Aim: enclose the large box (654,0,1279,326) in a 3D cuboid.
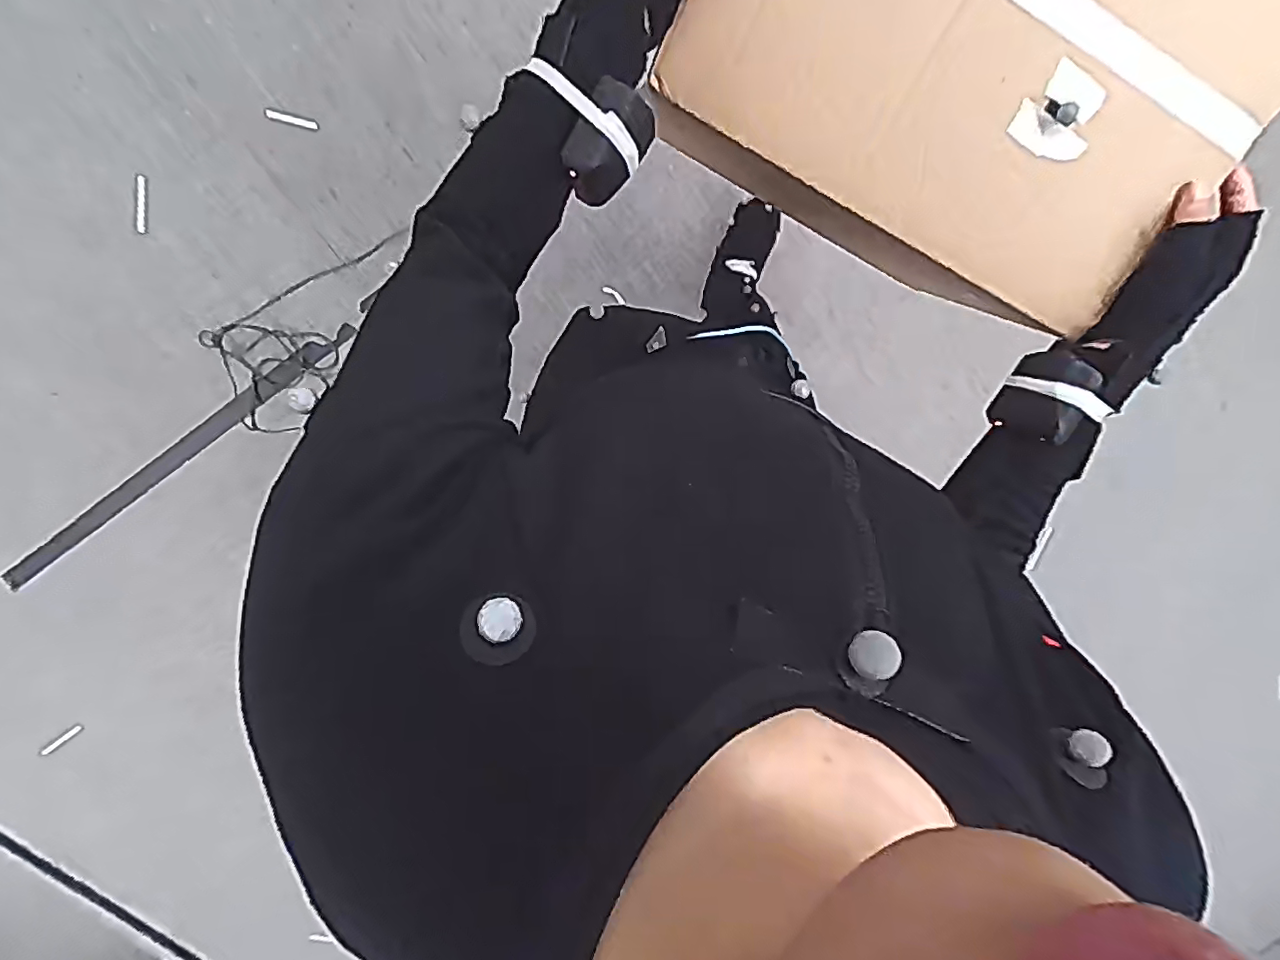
[{"bbox_3d":[0.256,-0.396,0.497,0.408,0.320,0.320,24,116,-12],"label":"large box"}]
